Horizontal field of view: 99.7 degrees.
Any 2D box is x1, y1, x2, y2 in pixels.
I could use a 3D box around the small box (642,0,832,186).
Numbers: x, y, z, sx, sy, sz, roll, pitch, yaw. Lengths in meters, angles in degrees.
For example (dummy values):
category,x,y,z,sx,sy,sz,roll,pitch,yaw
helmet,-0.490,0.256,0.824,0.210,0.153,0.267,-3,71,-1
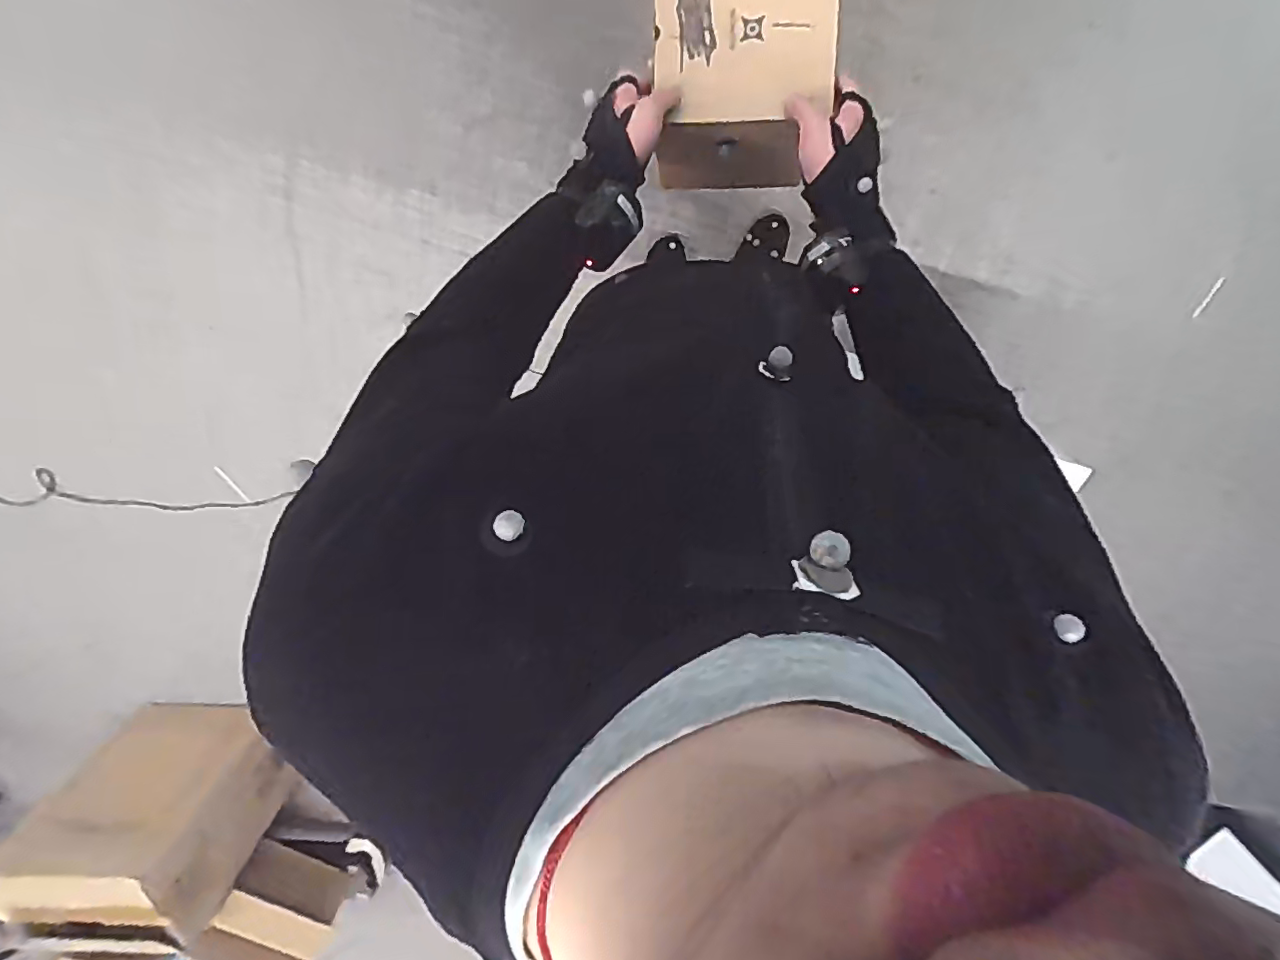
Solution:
category,x,y,z,sx,sy,sz,roll,pitch,yaw
small box,0.097,-0.434,0.581,0.179,0.176,0.168,1,99,5
